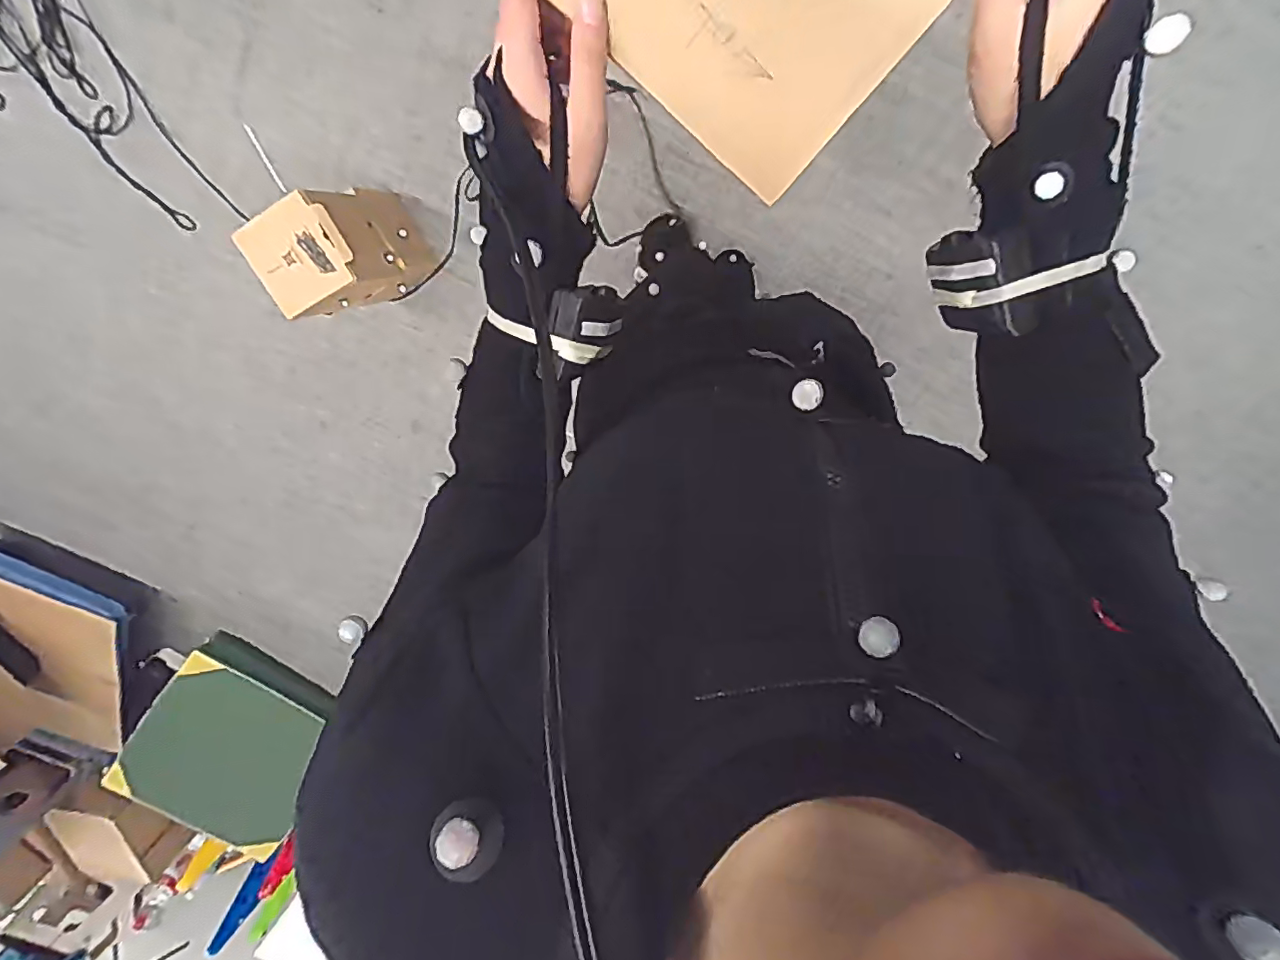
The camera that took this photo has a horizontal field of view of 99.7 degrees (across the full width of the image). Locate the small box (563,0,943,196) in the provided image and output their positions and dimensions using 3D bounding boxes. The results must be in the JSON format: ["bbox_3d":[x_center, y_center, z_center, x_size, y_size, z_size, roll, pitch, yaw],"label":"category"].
[{"bbox_3d":[0.073,-0.310,0.308,0.168,0.176,0.179,32,127,-20],"label":"small box"}]

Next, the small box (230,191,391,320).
[{"bbox_3d":[-0.613,-0.429,1.037,0.179,0.176,0.168,-21,110,16],"label":"small box"}]

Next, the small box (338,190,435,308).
[{"bbox_3d":[-0.587,-0.505,1.182,0.168,0.176,0.179,-26,109,18],"label":"small box"}]
